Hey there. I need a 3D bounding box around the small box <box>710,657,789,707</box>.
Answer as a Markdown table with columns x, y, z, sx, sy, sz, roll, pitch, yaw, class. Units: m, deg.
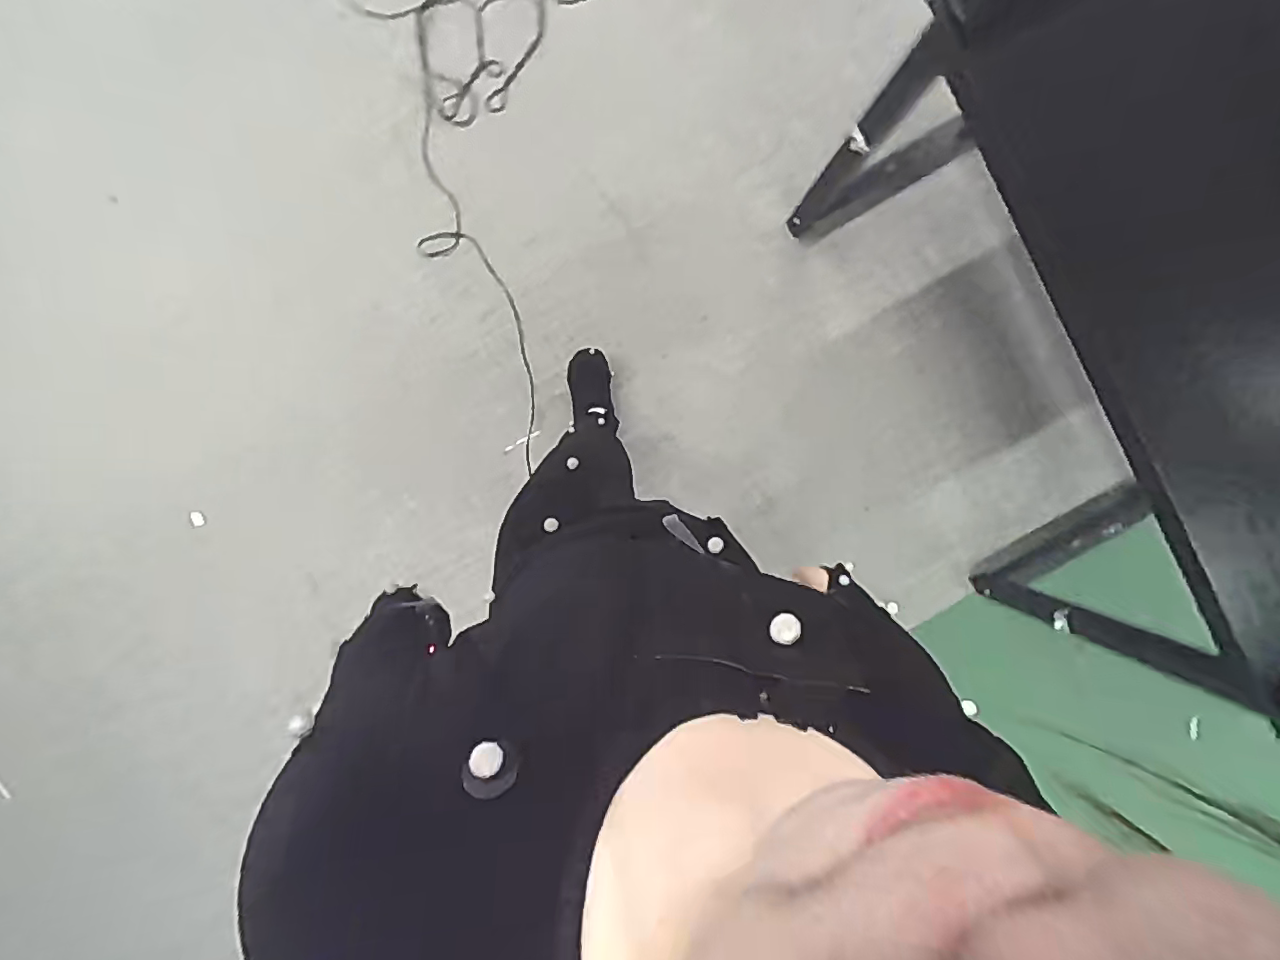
| x | y | z | sx | sy | sz | roll | pitch | yaw | class |
| --- | --- | --- | --- | --- | --- | --- | --- | --- | --- |
| 0.278 | 0.540 | 1.272 | 0.168 | 0.176 | 0.179 | -22 | 94 | 0 | small box |
